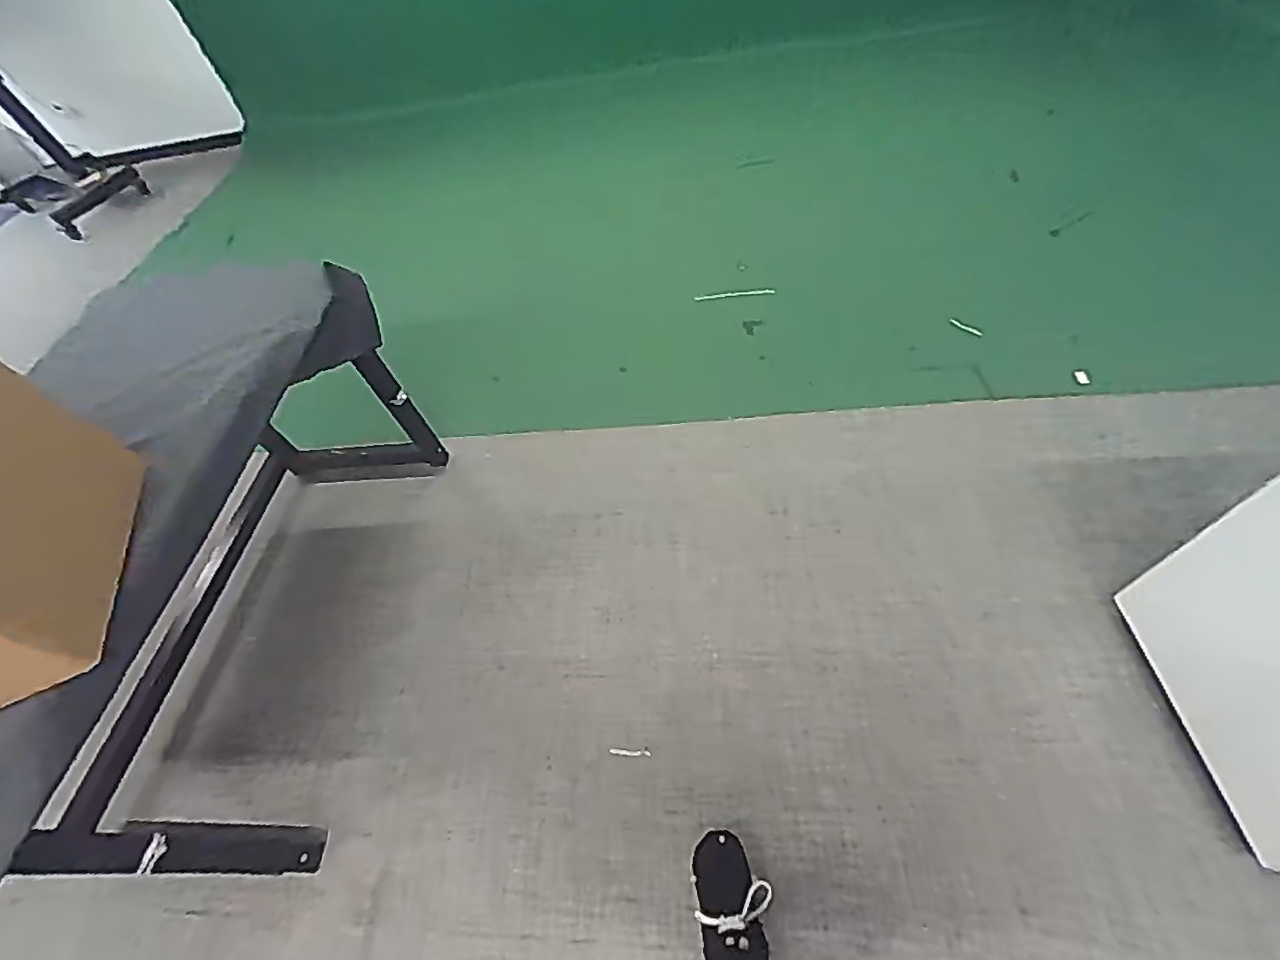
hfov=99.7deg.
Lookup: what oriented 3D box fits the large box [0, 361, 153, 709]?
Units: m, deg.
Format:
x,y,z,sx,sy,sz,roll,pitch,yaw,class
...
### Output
x,y,z,sx,sy,sz,roll,pitch,yaw,class
-0.947,0.086,0.712,0.320,0.320,0.408,-24,52,-7,large box
